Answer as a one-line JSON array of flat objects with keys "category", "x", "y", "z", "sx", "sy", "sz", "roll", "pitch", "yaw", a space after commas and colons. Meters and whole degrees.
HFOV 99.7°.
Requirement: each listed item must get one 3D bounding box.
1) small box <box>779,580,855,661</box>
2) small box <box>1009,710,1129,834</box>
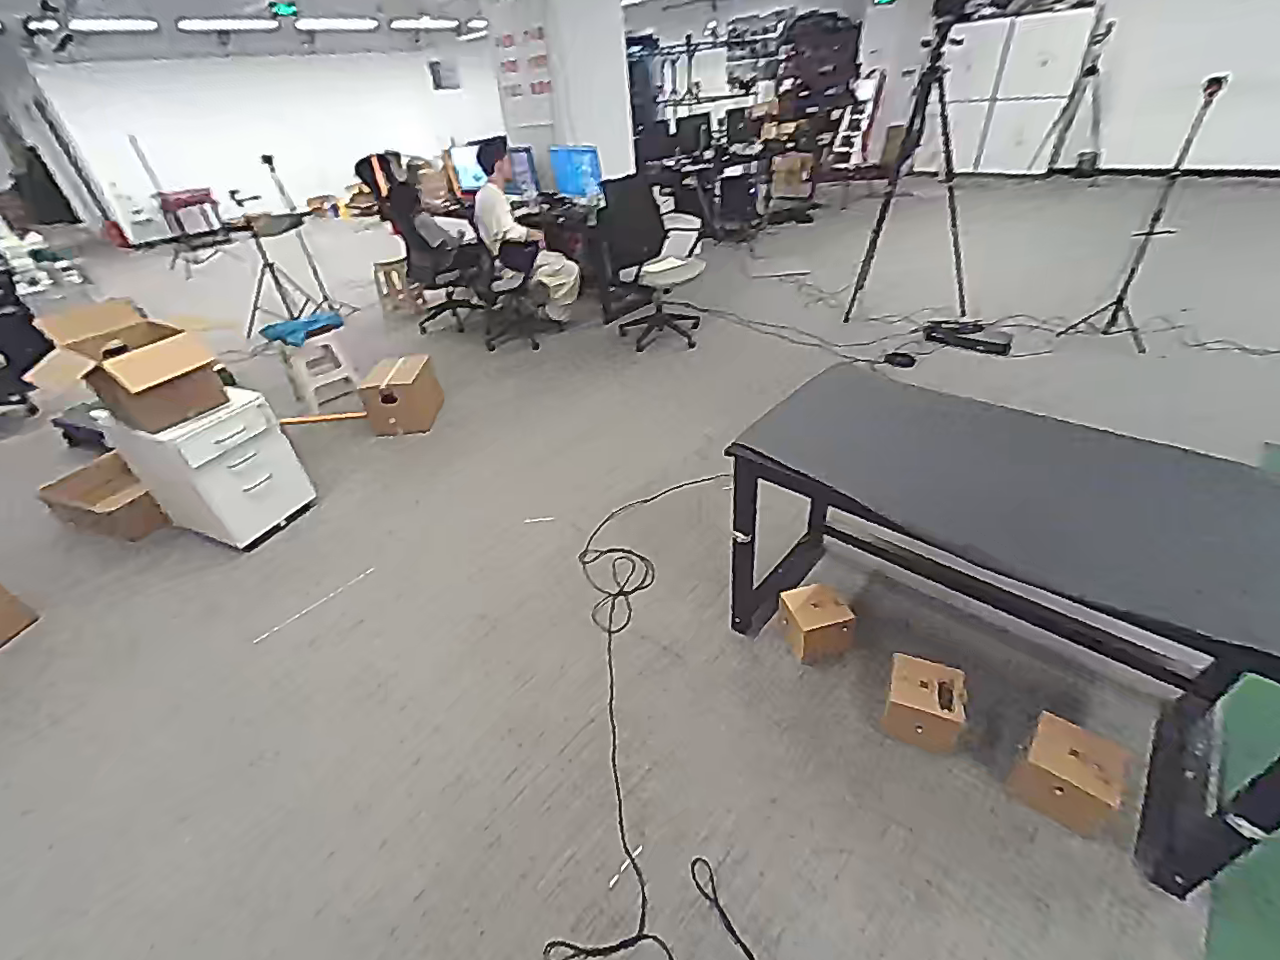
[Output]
[{"category": "small box", "x": 0.562, "y": 0.455, "z": 1.741, "sx": 0.179, "sy": 0.176, "sz": 0.168, "roll": -12, "pitch": 36, "yaw": -9}, {"category": "small box", "x": 1.033, "y": 0.709, "z": 1.313, "sx": 0.179, "sy": 0.176, "sz": 0.168, "roll": 25, "pitch": 46, "yaw": 35}]
